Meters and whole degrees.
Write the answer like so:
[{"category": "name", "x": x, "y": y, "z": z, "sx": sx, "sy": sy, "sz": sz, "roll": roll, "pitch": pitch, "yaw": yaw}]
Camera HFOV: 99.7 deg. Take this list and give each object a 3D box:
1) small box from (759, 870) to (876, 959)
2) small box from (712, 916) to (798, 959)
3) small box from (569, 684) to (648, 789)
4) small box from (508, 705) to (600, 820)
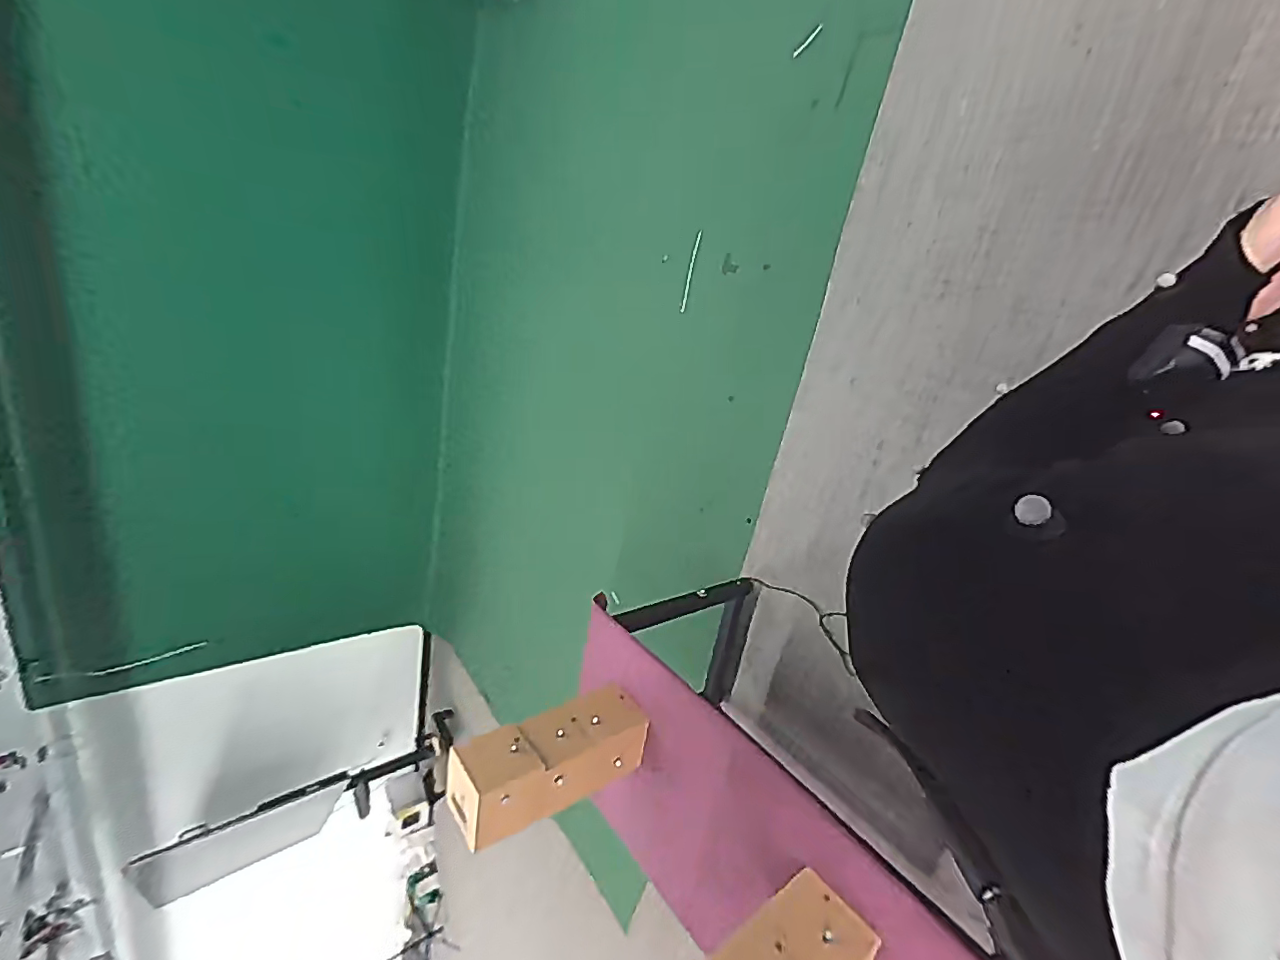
[{"category": "small box", "x": 0.326, "y": 0.910, "z": 1.038, "sx": 0.168, "sy": 0.176, "sz": 0.179, "roll": 27, "pitch": 115, "yaw": 45}, {"category": "small box", "x": 0.199, "y": 0.920, "z": 0.933, "sx": 0.168, "sy": 0.176, "sz": 0.179, "roll": 28, "pitch": 116, "yaw": 45}, {"category": "small box", "x": -0.096, "y": 0.713, "z": 1.519, "sx": 0.168, "sy": 0.176, "sz": 0.179, "roll": 29, "pitch": 117, "yaw": 44}, {"category": "small box", "x": -0.223, "y": 0.727, "z": 1.414, "sx": 0.168, "sy": 0.176, "sz": 0.179, "roll": 32, "pitch": 118, "yaw": 44}]
